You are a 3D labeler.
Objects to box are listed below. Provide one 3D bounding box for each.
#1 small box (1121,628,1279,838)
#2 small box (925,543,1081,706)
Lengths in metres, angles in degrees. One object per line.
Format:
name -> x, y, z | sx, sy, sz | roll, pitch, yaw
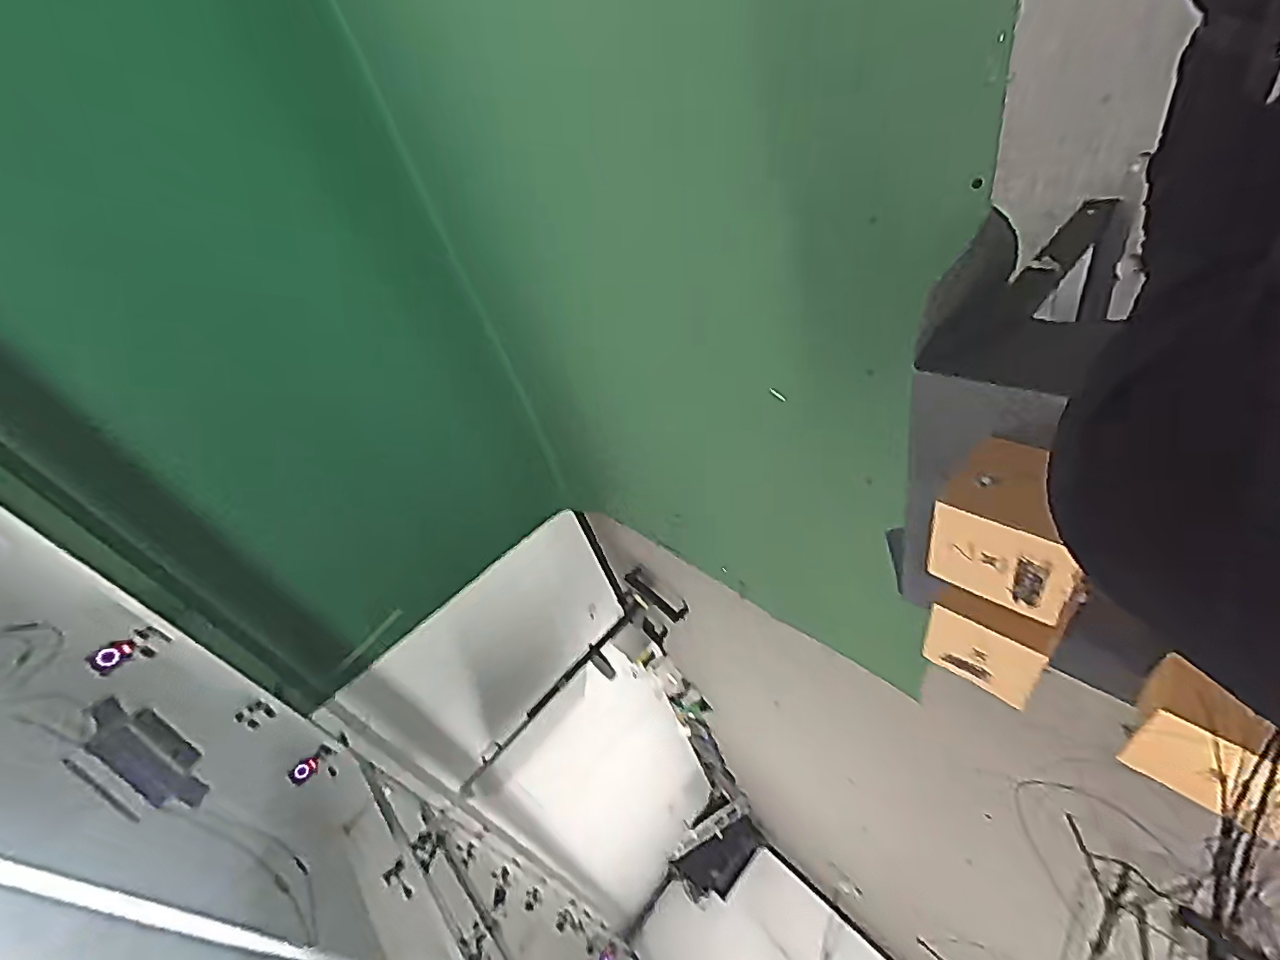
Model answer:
small box -> 0.824, 0.342, 0.753 | 0.168, 0.176, 0.179 | 27, 148, 40
small box -> 0.626, 0.245, 0.941 | 0.168, 0.176, 0.179 | 27, 146, 40
